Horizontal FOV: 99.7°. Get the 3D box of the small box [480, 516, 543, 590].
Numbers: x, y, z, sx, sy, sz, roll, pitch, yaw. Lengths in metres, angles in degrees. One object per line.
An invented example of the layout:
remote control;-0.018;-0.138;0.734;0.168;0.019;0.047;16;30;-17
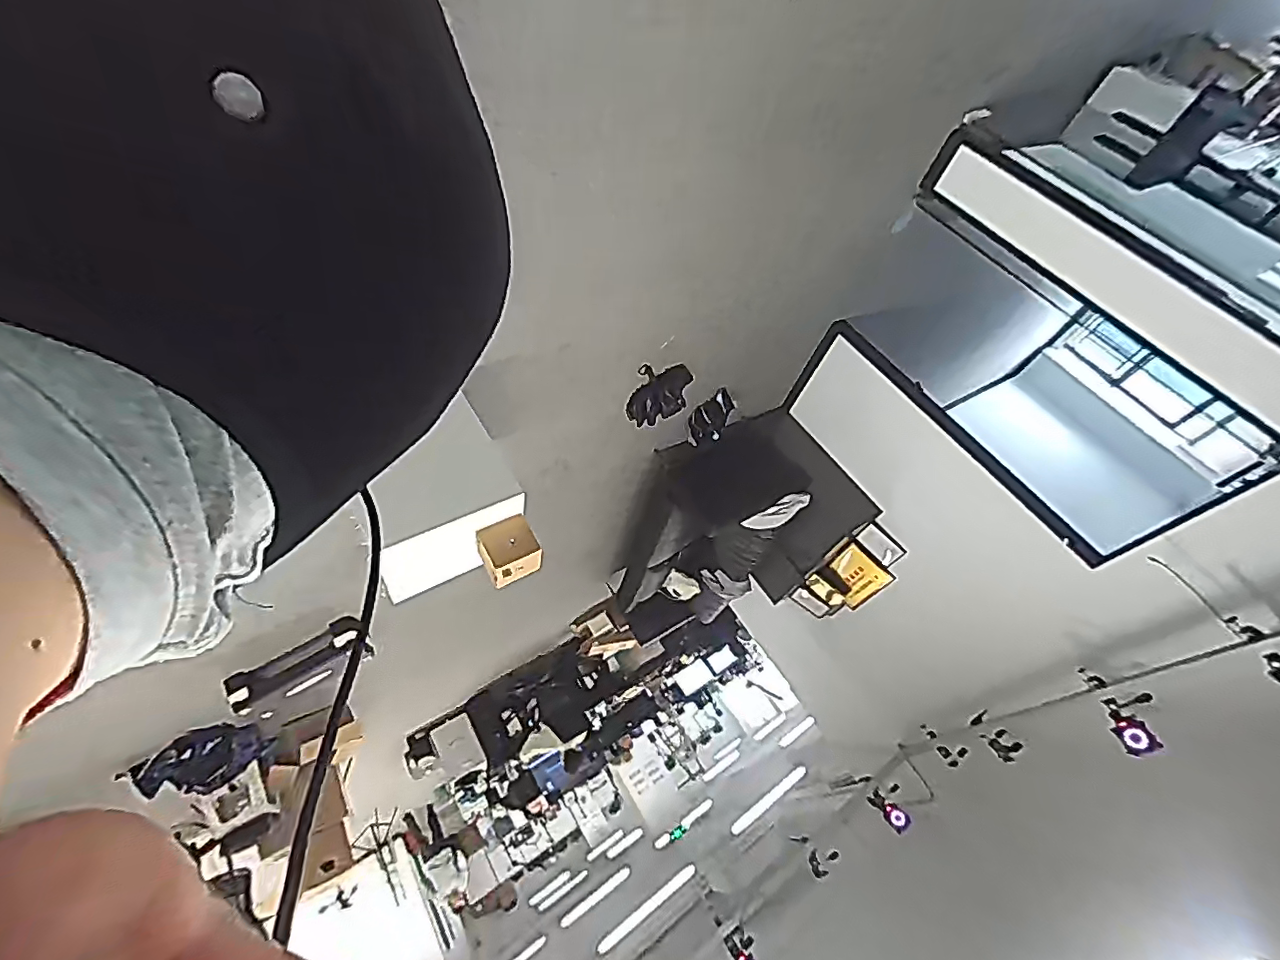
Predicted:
small box;-0.471;0.260;1.956;0.179;0.176;0.168;-24;155;-27
